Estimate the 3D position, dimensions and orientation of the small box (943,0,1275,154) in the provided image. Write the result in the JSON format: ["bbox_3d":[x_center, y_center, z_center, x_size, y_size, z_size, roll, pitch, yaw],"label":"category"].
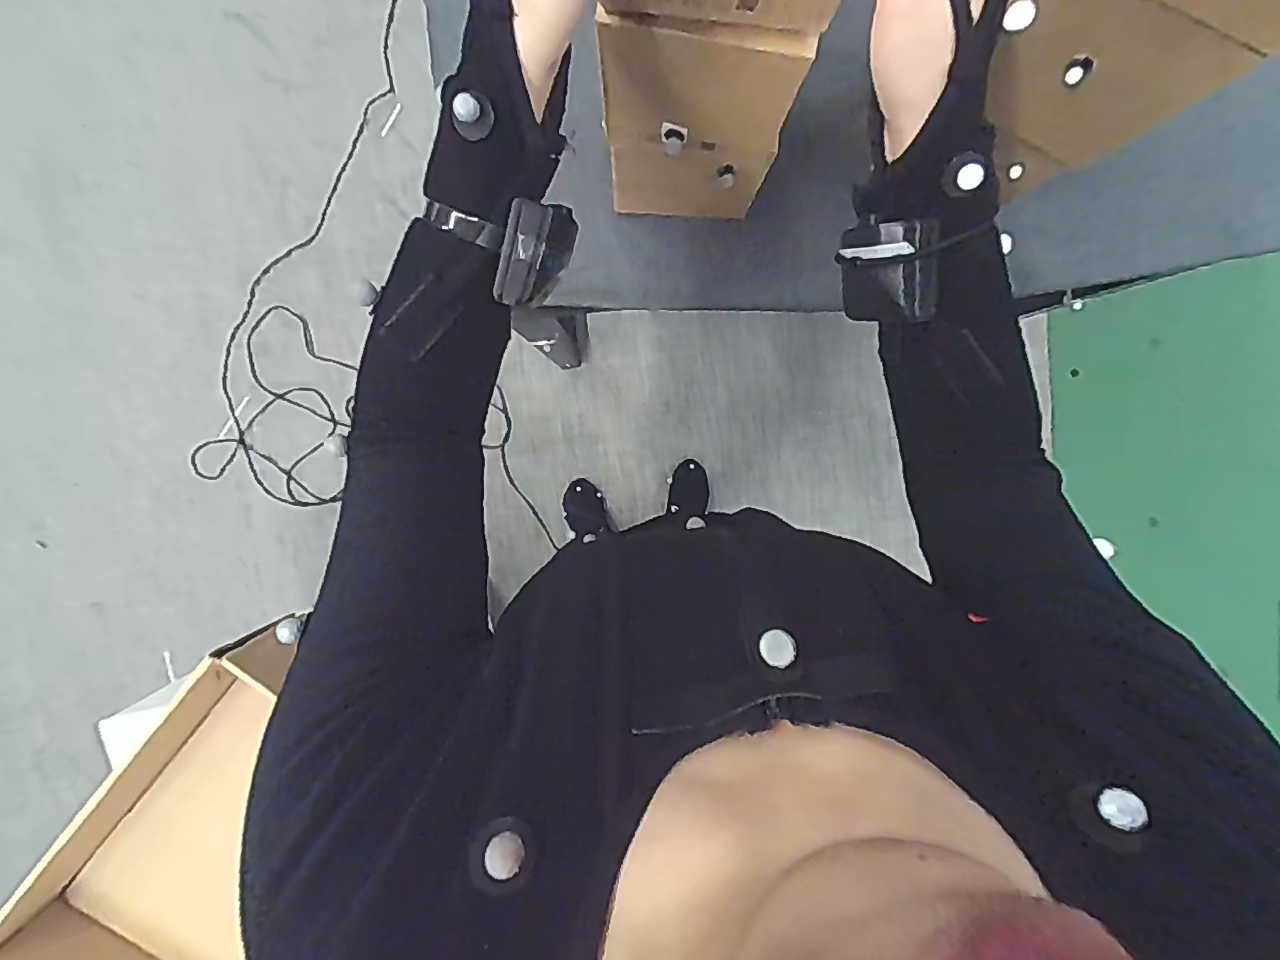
[{"bbox_3d":[0.415,-0.423,0.467,0.179,0.176,0.168,26,94,-2],"label":"small box"}]

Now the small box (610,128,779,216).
[{"bbox_3d":[0.058,-0.426,0.630,0.179,0.176,0.168,3,94,-1],"label":"small box"}]

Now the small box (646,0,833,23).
[{"bbox_3d":[0.057,-0.404,0.297,0.168,0.176,0.179,7,95,2],"label":"small box"}]

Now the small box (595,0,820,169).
[{"bbox_3d":[0.059,-0.409,0.468,0.168,0.176,0.179,8,95,0],"label":"small box"}]
